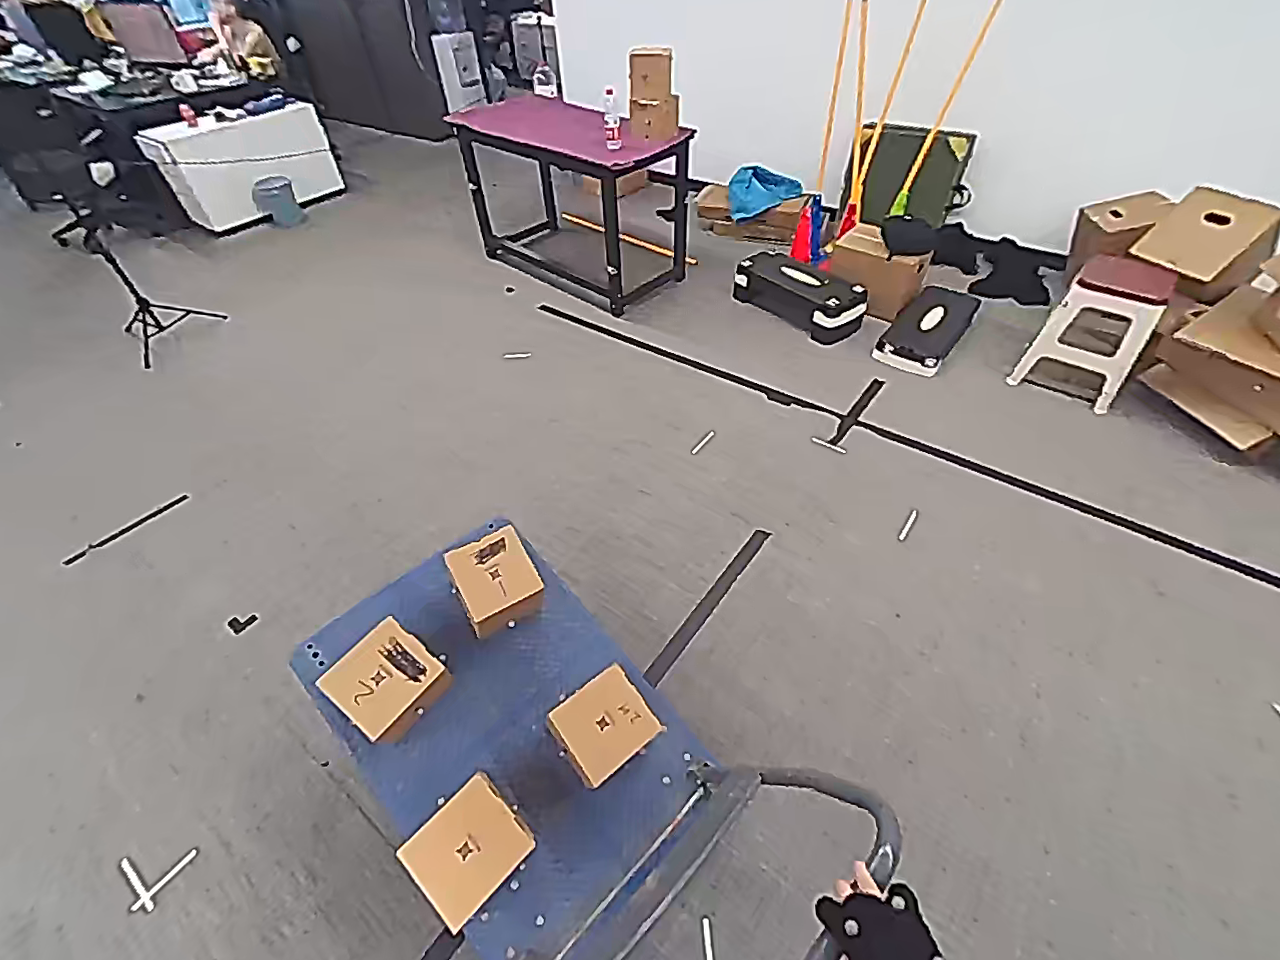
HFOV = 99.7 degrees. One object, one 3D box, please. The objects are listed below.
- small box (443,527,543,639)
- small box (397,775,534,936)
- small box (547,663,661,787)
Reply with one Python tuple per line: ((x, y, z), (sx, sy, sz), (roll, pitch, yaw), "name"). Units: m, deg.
((-0.342, 0.244, 1.261), (0.168, 0.176, 0.179), (-25, 70, -24), "small box")
((-0.316, 0.689, 1.011), (0.168, 0.176, 0.179), (43, 59, 13), "small box")
((-0.084, 0.526, 1.155), (0.179, 0.176, 0.168), (-31, 72, -26), "small box")
